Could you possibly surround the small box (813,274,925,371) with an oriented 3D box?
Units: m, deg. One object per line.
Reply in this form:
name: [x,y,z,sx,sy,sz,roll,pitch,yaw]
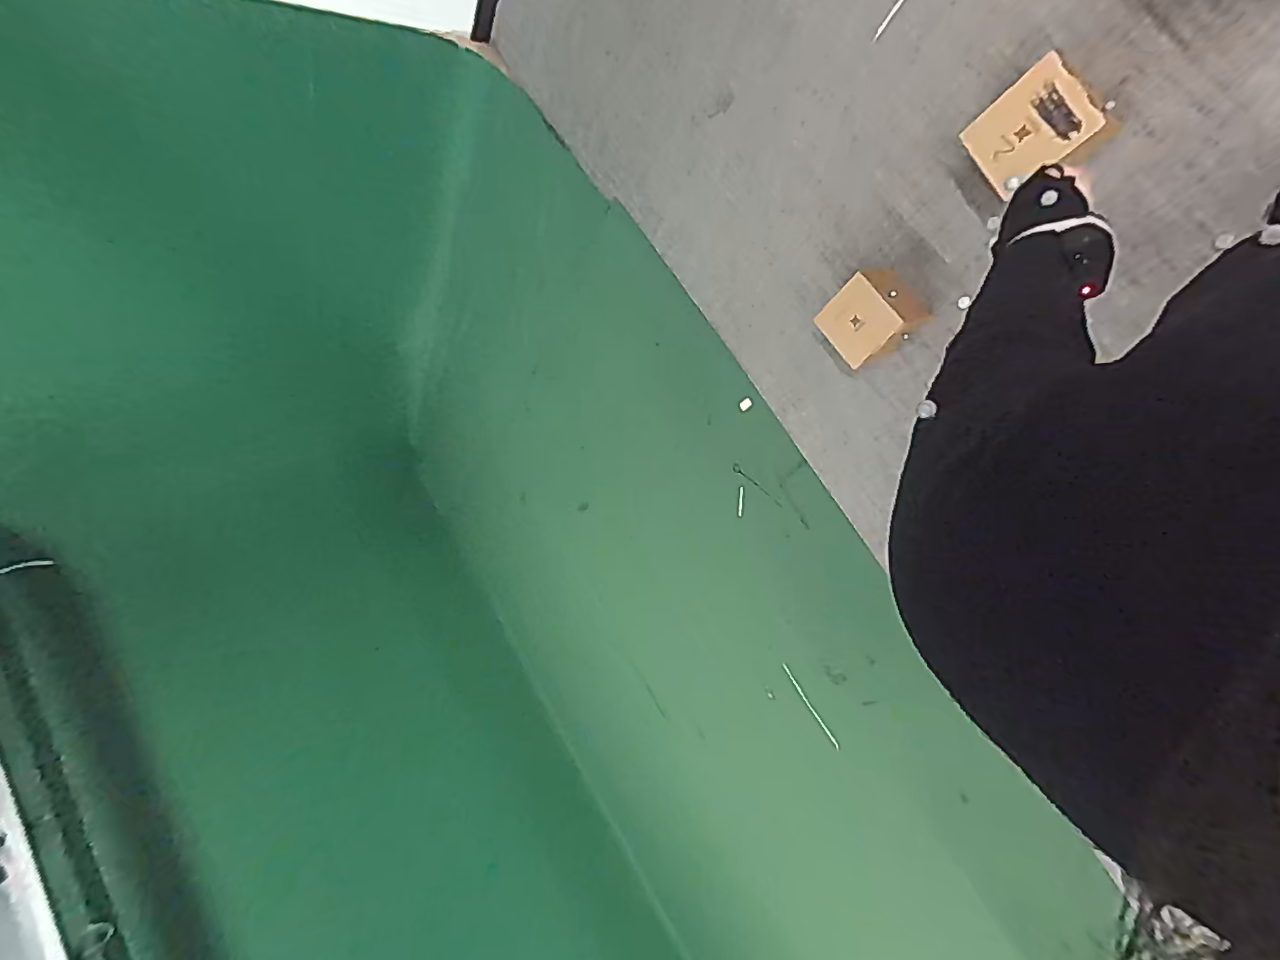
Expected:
small box: [0.592,-0.411,1.392,0.179,0.176,0.168,57,139,13]
